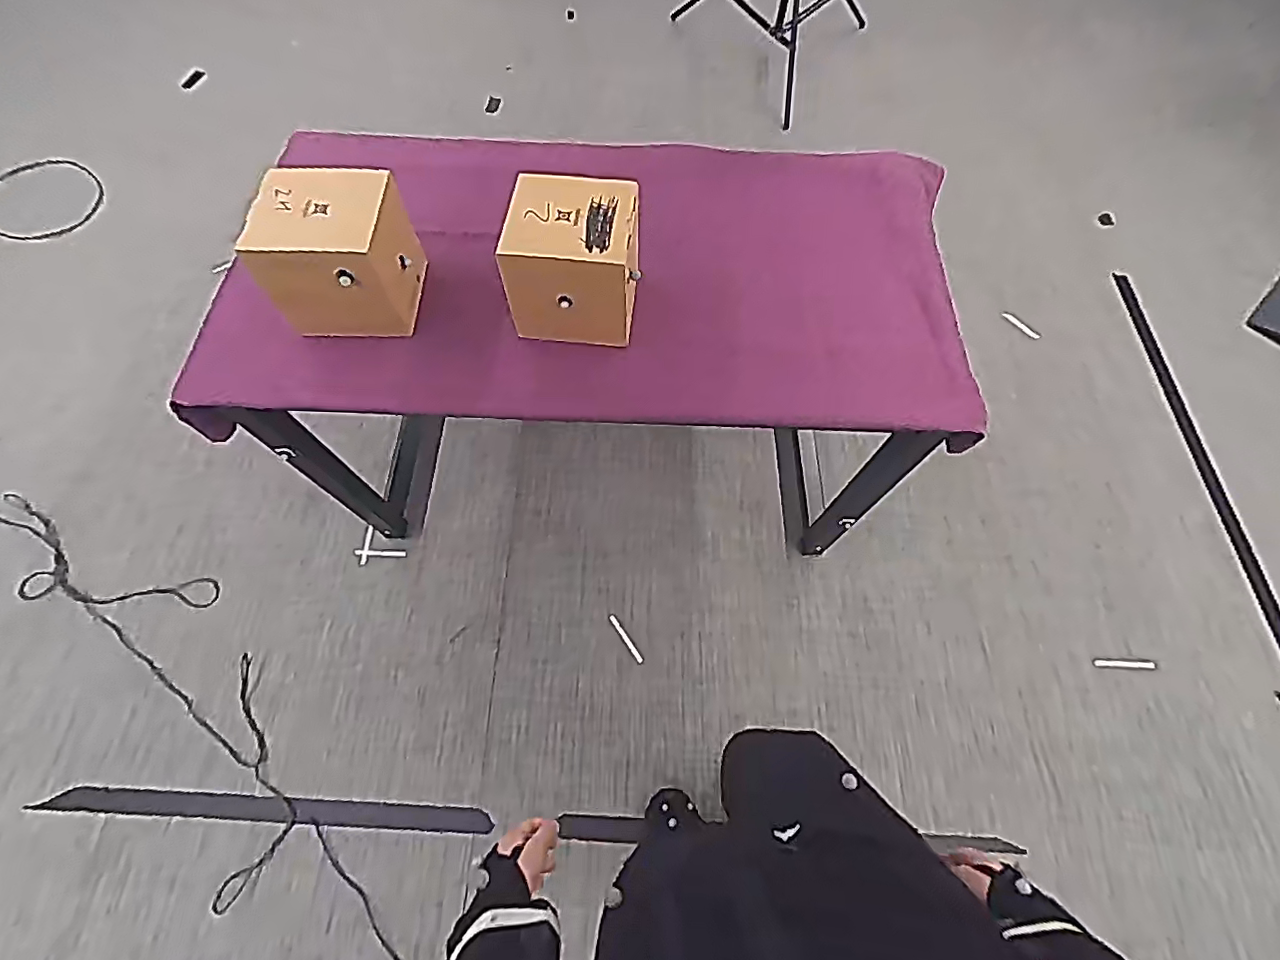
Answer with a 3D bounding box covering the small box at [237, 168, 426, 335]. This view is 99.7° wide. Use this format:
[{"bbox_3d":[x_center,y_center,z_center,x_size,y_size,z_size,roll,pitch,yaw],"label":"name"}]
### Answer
[{"bbox_3d":[-0.441,-0.335,0.811,0.179,0.176,0.168,0,64,-1],"label":"small box"}]
